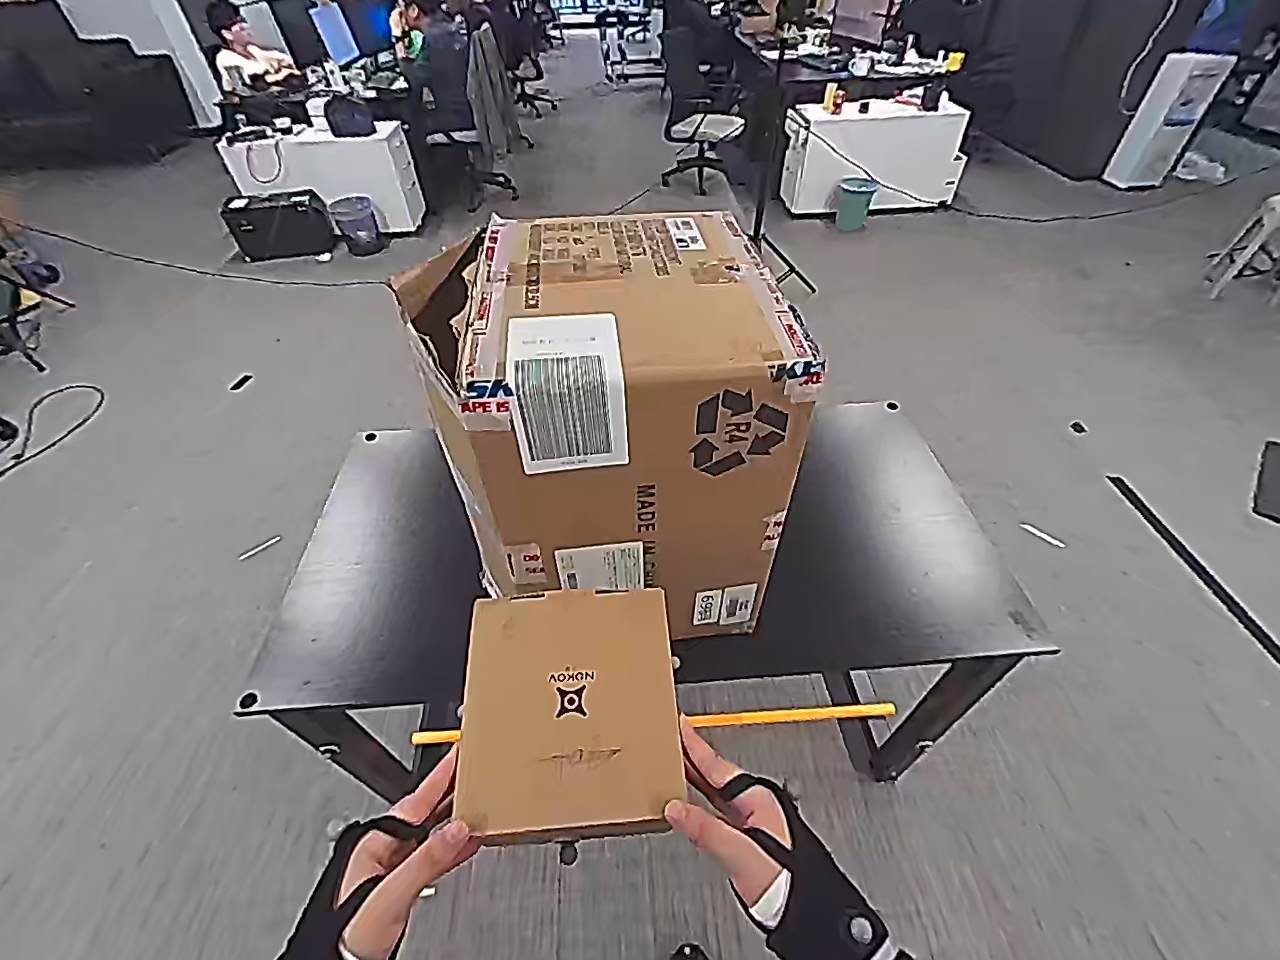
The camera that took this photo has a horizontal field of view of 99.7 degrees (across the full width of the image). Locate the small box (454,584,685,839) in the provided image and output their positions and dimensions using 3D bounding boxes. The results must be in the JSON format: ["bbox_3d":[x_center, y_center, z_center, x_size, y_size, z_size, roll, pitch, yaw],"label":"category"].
[{"bbox_3d":[-0.057,0.212,0.492,0.168,0.176,0.179,-3,54,-4],"label":"small box"}]
